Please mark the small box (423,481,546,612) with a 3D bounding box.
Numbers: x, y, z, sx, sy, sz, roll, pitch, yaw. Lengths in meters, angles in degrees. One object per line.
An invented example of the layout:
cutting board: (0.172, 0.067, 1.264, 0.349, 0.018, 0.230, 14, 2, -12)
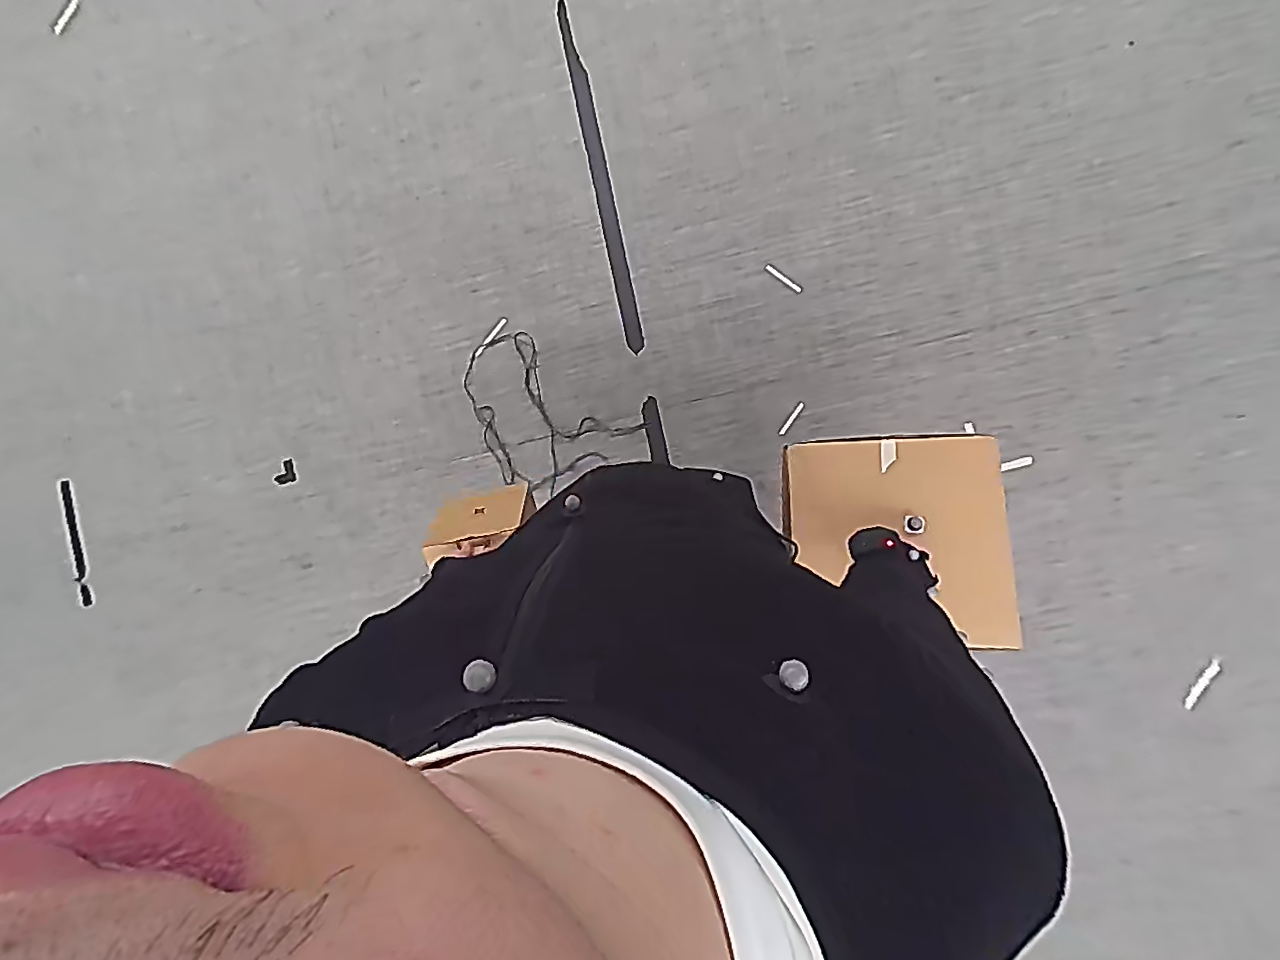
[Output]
small box: (-0.276, 0.126, 1.004, 0.168, 0.179, 0.176, -10, 118, -1)
